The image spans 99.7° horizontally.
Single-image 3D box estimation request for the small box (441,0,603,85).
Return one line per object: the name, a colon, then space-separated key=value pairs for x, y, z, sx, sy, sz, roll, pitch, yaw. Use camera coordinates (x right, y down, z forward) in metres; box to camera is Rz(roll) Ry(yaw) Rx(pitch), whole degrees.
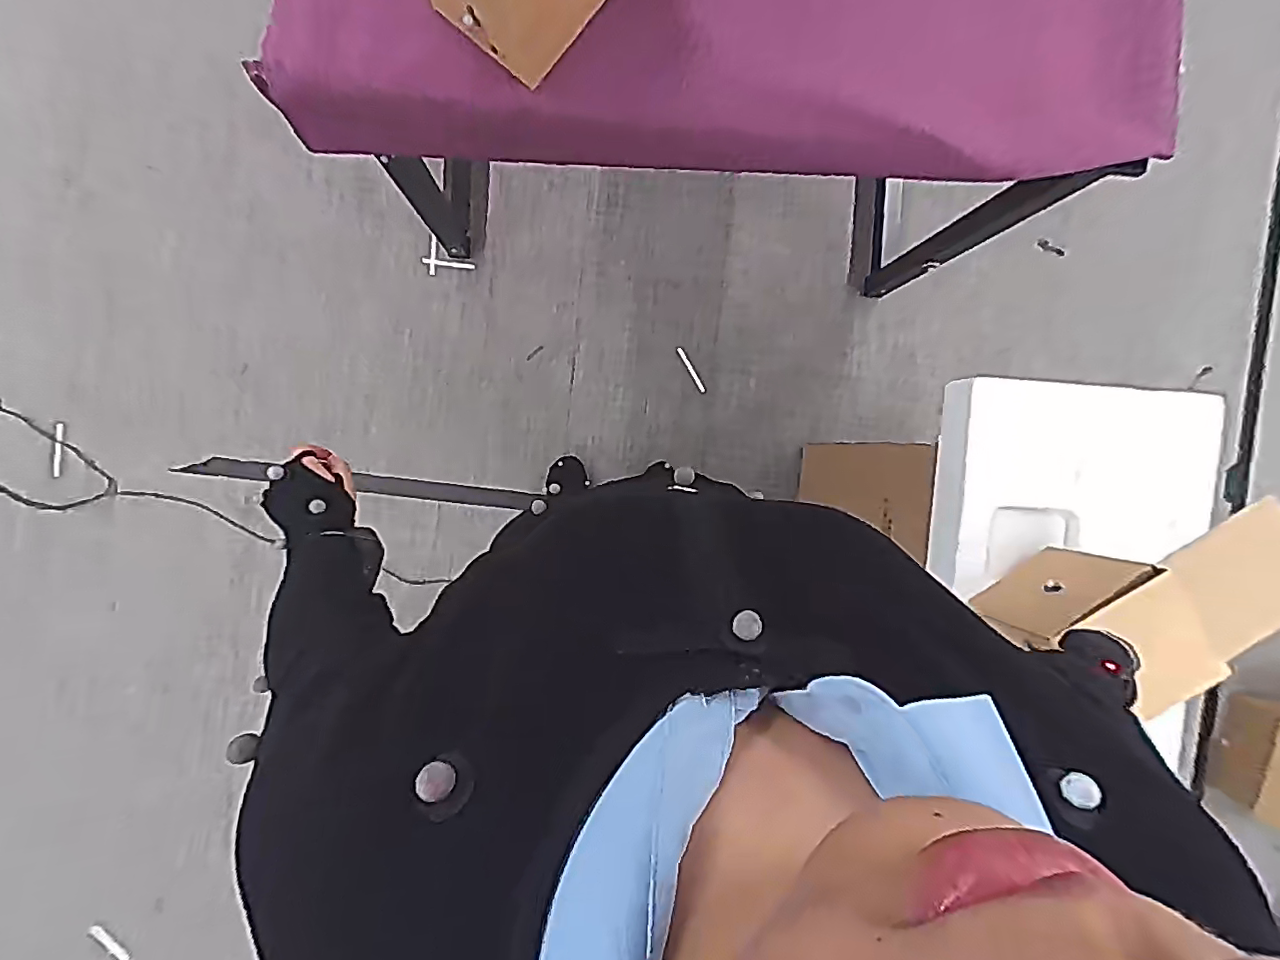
small box: x=-0.144 y=-0.634 z=0.638 sx=0.168 sy=0.176 sz=0.179 roll=38 pitch=89 yaw=-4
